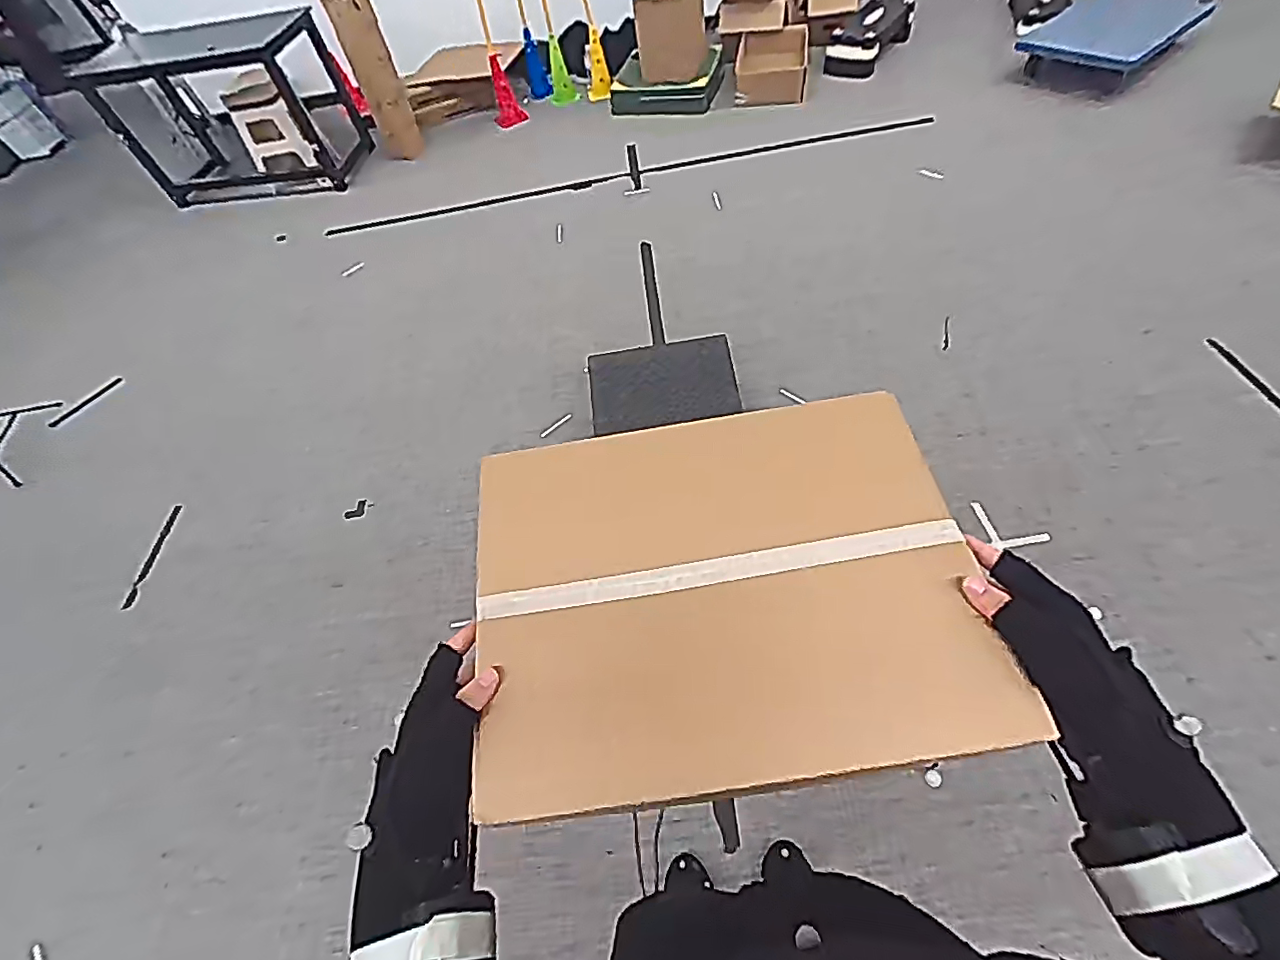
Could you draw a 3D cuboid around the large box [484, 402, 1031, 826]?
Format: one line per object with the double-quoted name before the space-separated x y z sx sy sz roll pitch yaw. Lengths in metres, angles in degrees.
"large box" 0.079 0.158 0.586 0.408 0.320 0.320 -9 58 1
